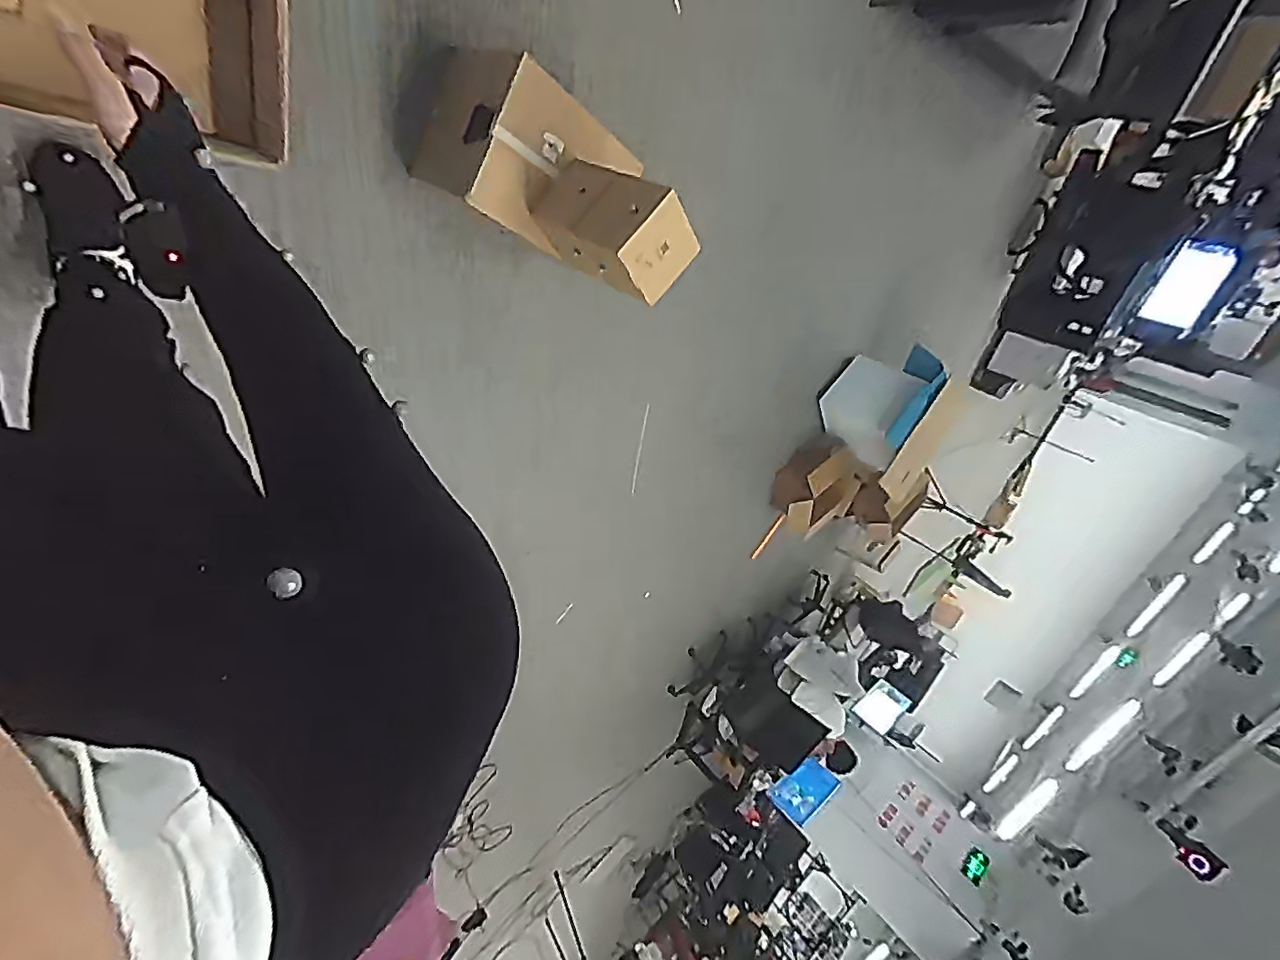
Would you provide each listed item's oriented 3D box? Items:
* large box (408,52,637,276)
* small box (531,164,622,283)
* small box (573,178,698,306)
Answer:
[{"bbox_3d":[-0.290,-0.774,1.358,0.408,0.320,0.320,11,110,-51],"label":"large box"},{"bbox_3d":[-0.120,-0.605,1.269,0.179,0.176,0.168,-50,145,-3],"label":"small box"},{"bbox_3d":[-0.011,-0.522,1.177,0.179,0.176,0.168,-50,144,-2],"label":"small box"}]
